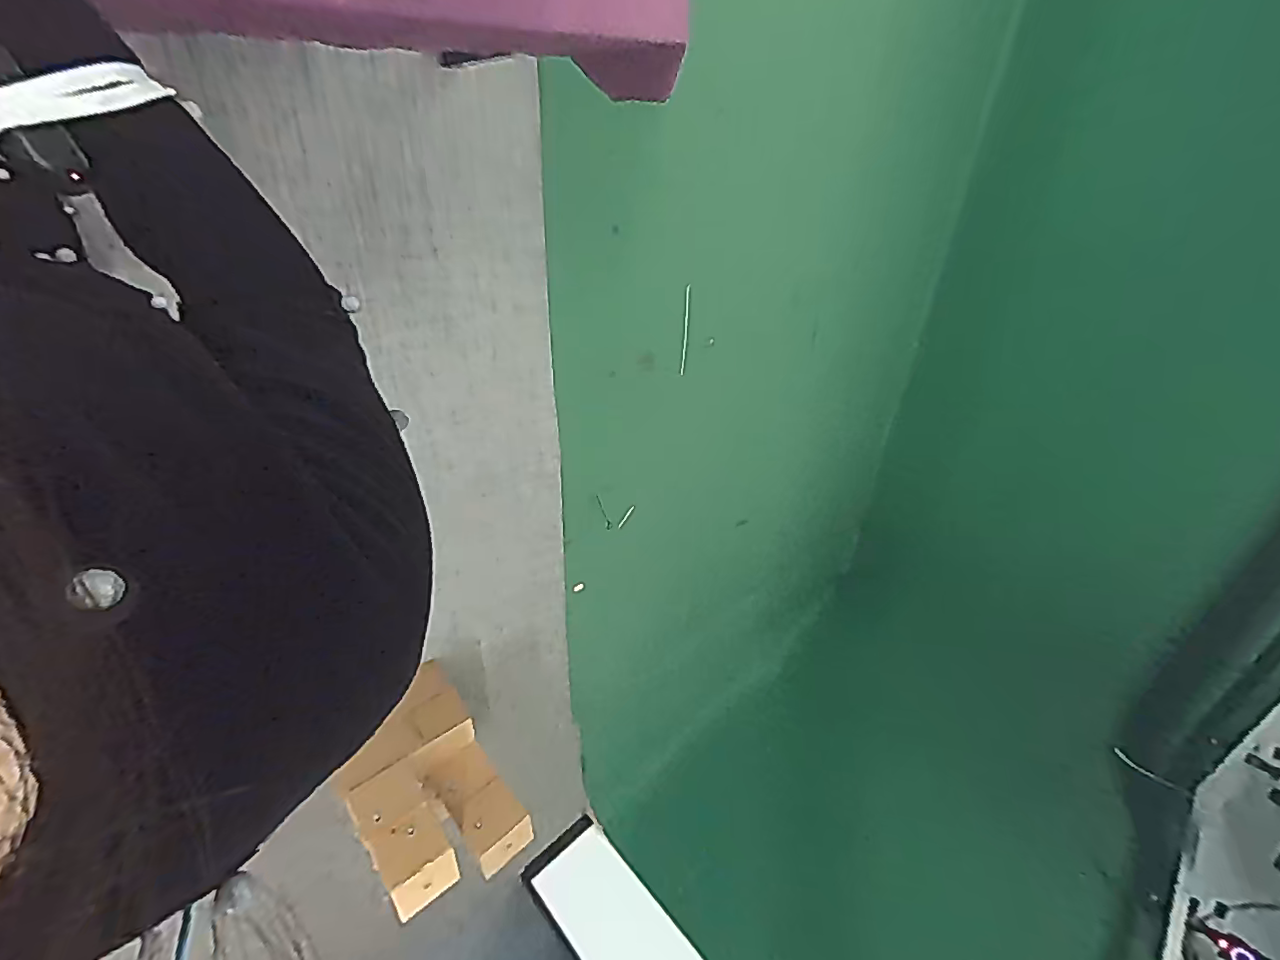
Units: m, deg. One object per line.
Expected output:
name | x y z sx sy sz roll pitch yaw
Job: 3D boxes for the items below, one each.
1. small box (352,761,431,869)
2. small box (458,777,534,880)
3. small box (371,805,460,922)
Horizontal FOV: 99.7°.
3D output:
small box | -0.730 0.982 1.598 0.179 0.176 0.168 -23 130 -36
small box | -0.459 1.094 1.707 0.179 0.176 0.168 -27 134 -35
small box | -0.620 1.052 1.498 0.168 0.176 0.179 -22 128 -36
